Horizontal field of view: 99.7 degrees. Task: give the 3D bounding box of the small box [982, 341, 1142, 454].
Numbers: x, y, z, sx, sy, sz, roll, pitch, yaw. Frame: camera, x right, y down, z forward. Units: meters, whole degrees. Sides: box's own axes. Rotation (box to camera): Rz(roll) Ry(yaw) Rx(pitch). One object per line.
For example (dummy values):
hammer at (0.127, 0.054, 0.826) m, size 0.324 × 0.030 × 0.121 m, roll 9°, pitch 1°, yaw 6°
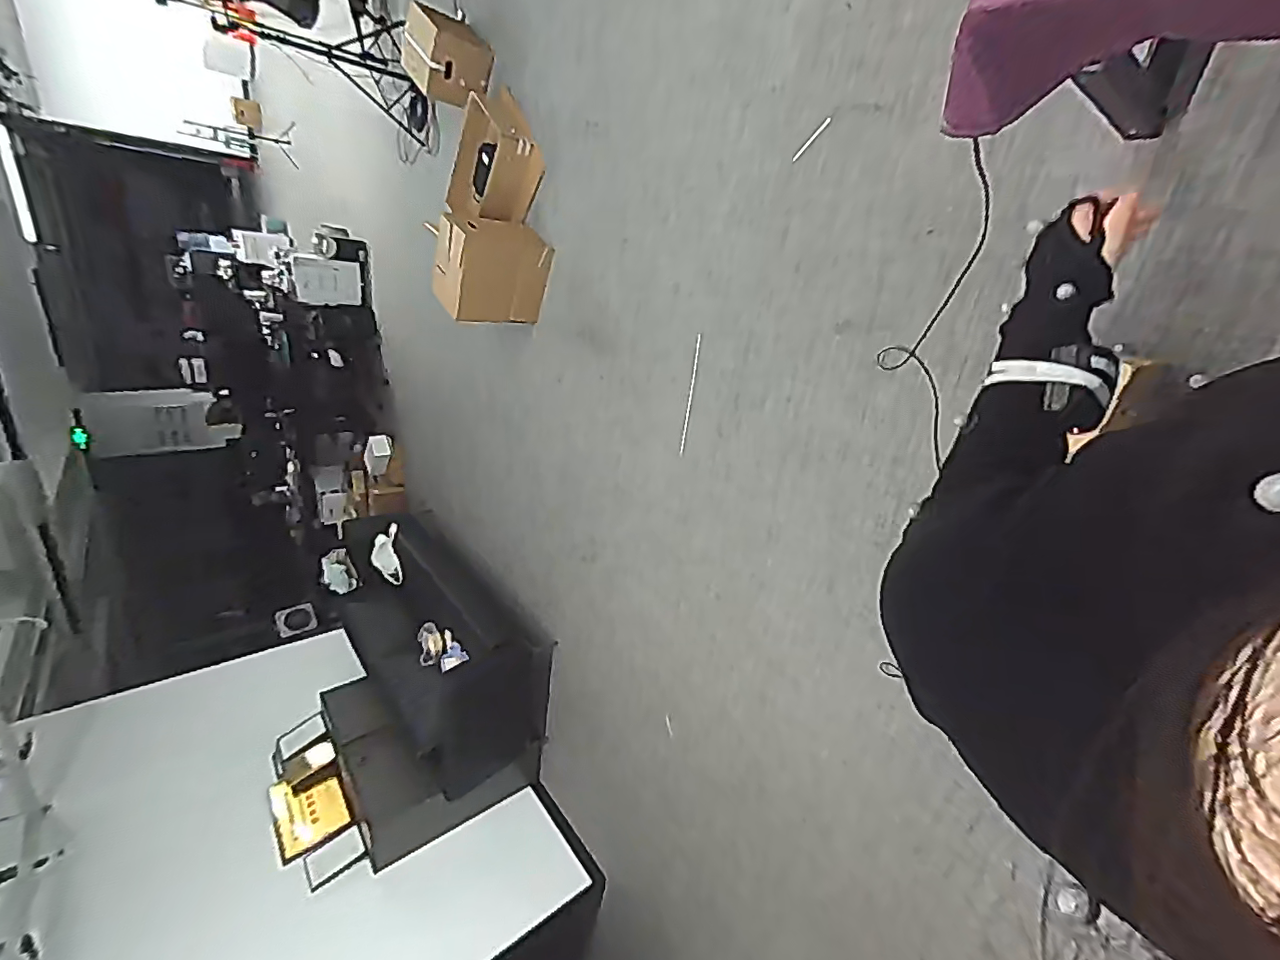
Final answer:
small box at (0.809, -0.163, 1.040) m, size 0.179 × 0.176 × 0.168 m, roll 33°, pitch 123°, yaw 41°
